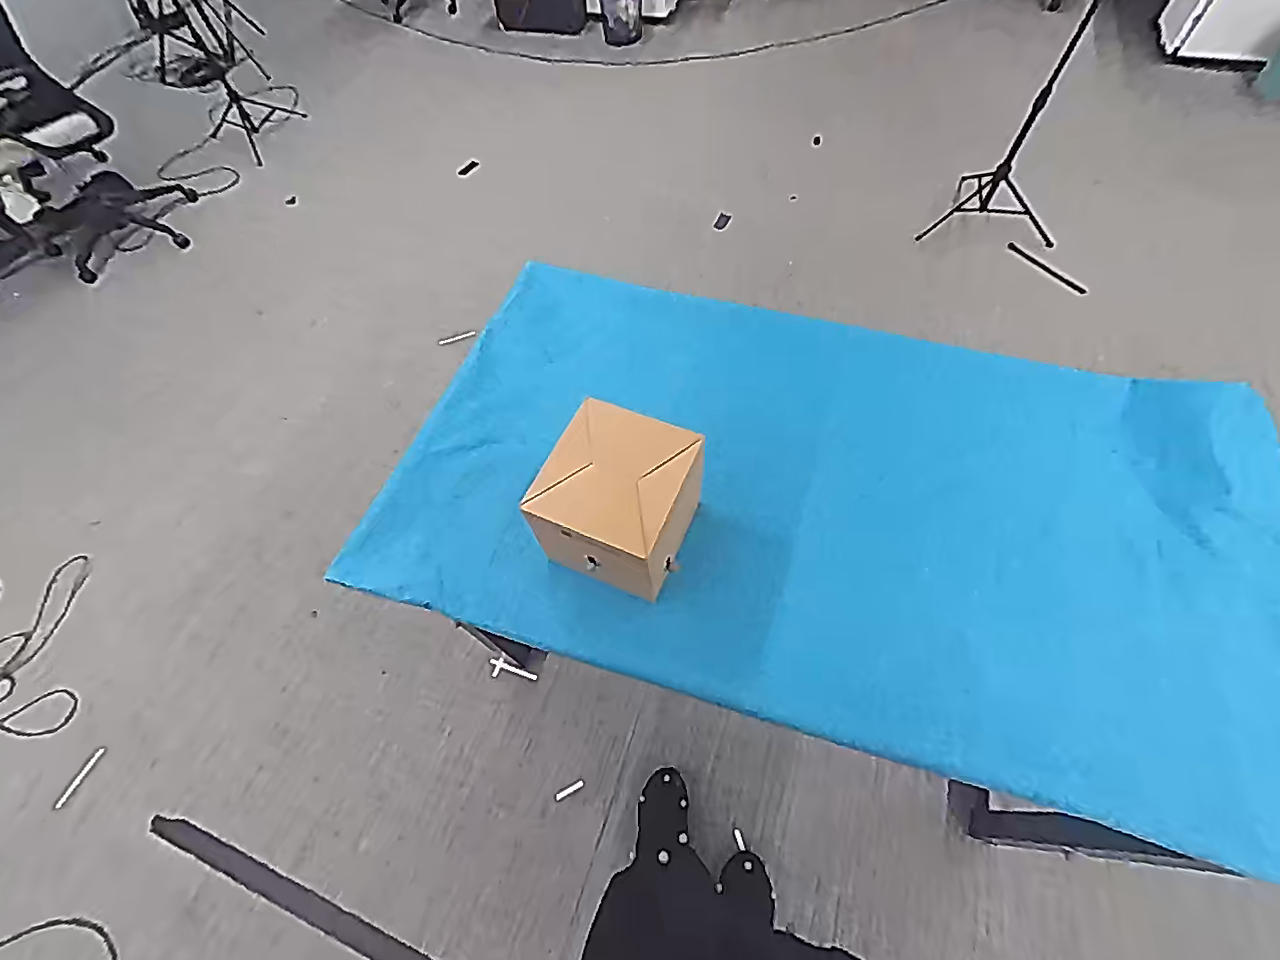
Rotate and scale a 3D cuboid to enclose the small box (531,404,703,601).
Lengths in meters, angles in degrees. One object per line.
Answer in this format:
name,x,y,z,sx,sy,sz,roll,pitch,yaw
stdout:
small box,-0.022,0.031,0.717,0.168,0.176,0.179,20,64,15
